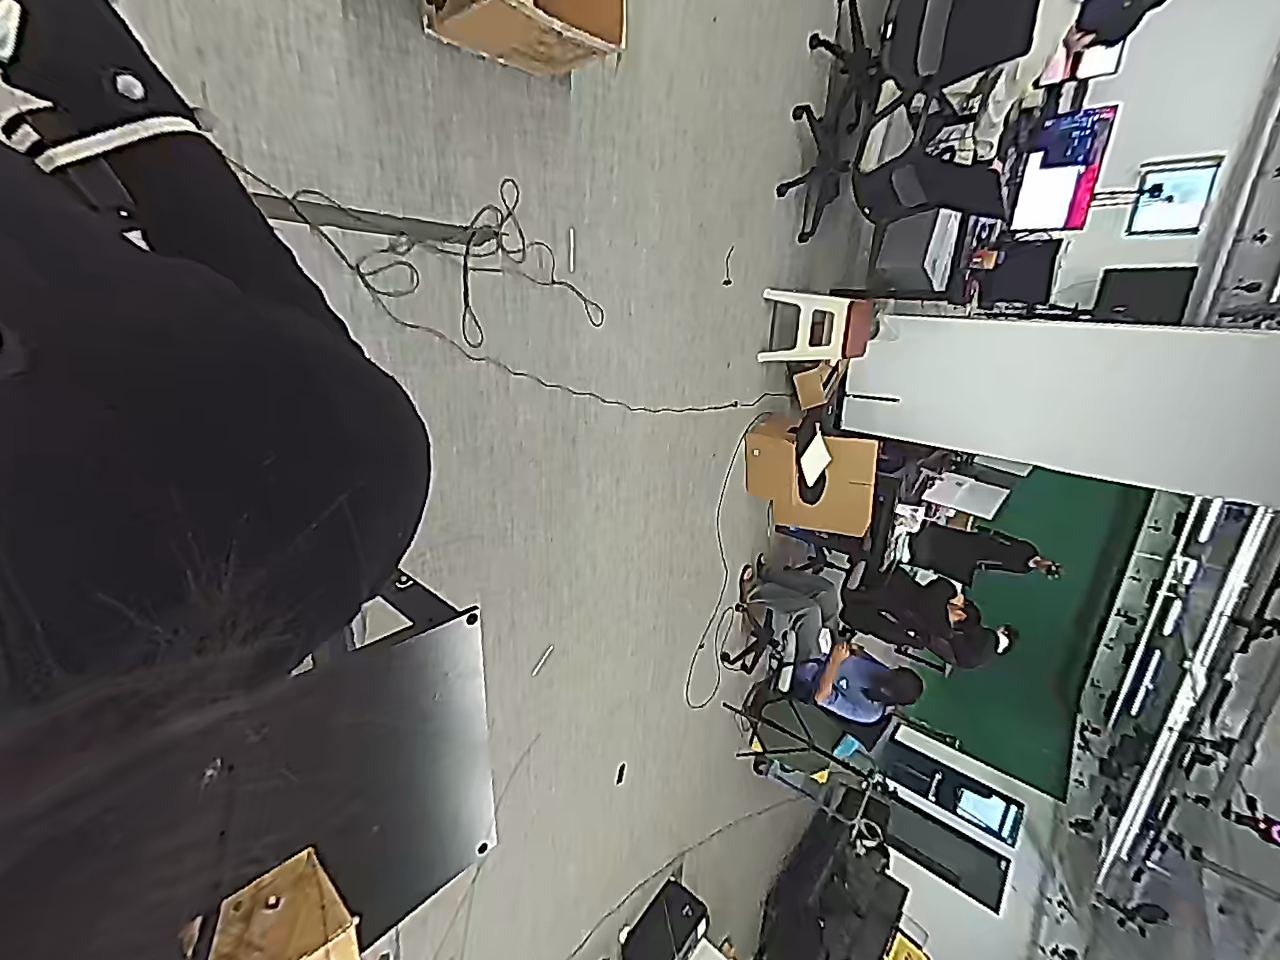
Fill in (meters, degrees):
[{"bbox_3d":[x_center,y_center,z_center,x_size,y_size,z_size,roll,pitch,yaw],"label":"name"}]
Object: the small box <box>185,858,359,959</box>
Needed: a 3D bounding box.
[{"bbox_3d":[-0.520,0.705,0.778,0.168,0.176,0.179,-18,116,-47],"label":"small box"}]
